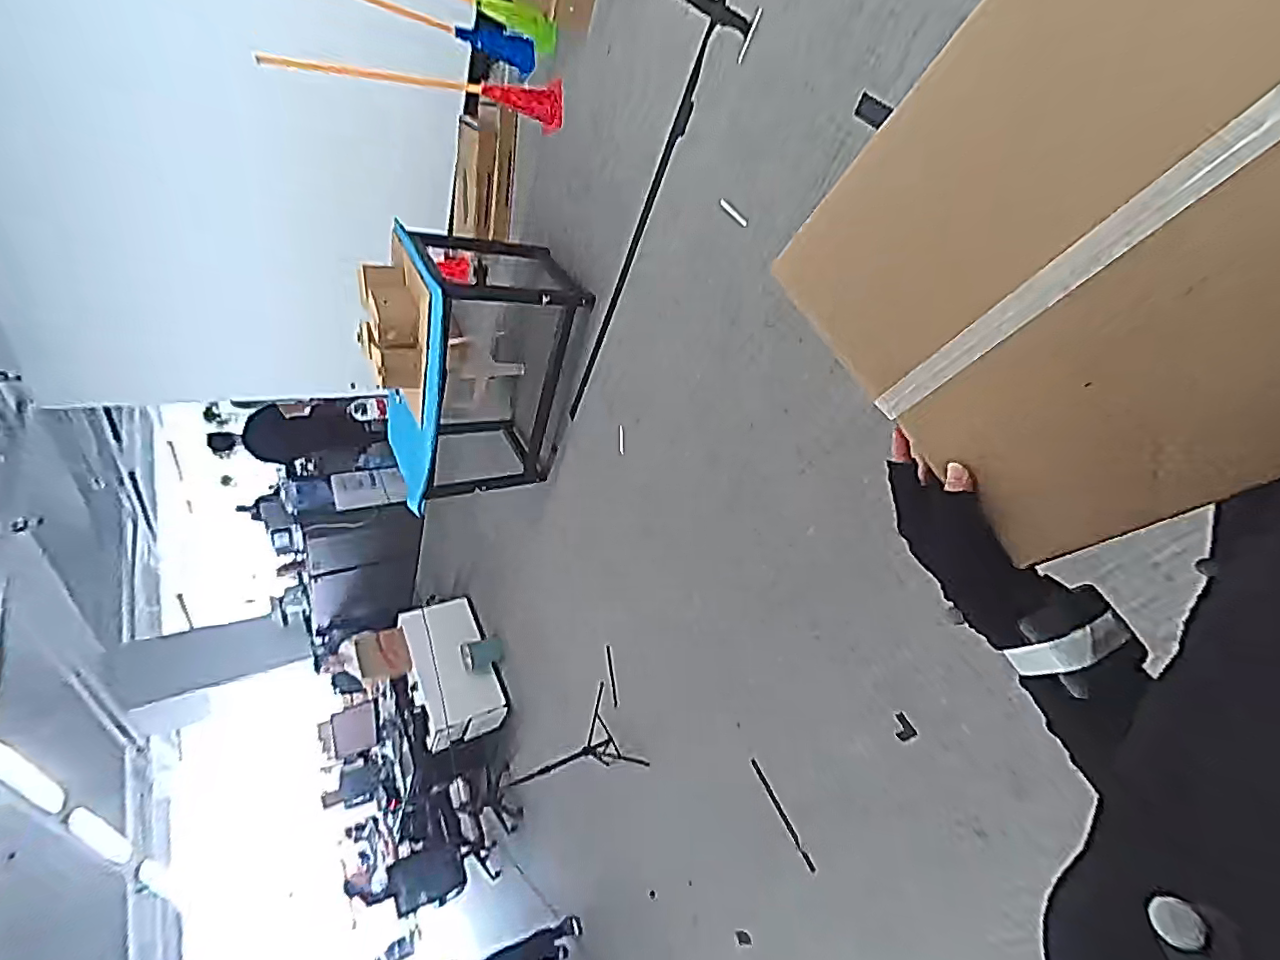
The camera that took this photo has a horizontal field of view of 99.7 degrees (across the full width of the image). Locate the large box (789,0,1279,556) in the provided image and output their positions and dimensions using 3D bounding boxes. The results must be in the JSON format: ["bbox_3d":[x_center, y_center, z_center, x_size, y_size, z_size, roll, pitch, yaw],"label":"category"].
[{"bbox_3d":[0.400,-0.206,0.390,0.320,0.320,0.408,55,141,11],"label":"large box"}]
